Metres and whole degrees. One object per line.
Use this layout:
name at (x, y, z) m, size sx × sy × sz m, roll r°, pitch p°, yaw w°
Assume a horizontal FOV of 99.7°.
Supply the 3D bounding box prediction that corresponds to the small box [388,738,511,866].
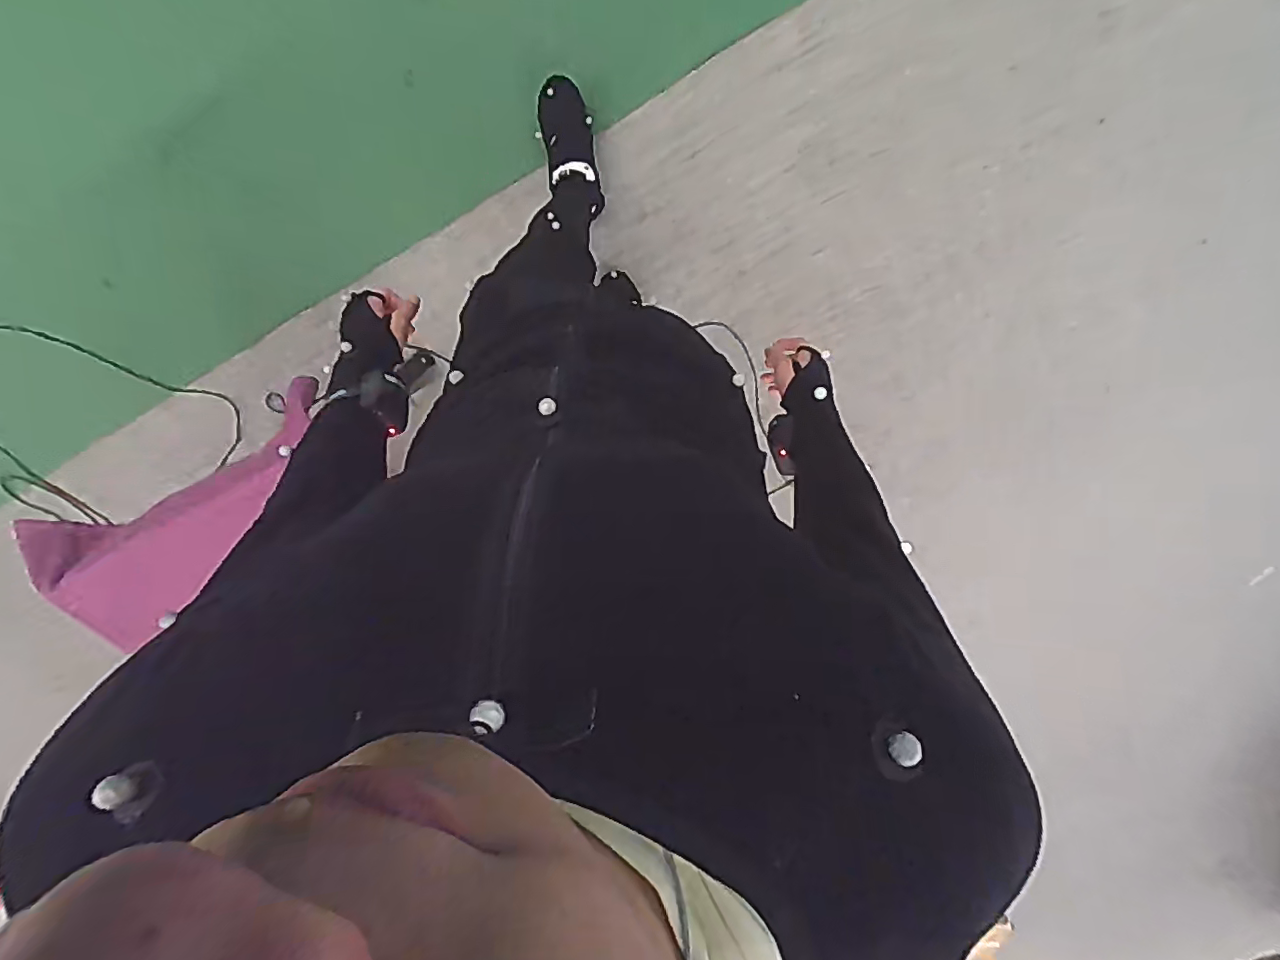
small box at (-0.415, 0.716, 1.211) m, size 0.179 × 0.176 × 0.168 m, roll -24°, pitch 117°, yaw 12°
